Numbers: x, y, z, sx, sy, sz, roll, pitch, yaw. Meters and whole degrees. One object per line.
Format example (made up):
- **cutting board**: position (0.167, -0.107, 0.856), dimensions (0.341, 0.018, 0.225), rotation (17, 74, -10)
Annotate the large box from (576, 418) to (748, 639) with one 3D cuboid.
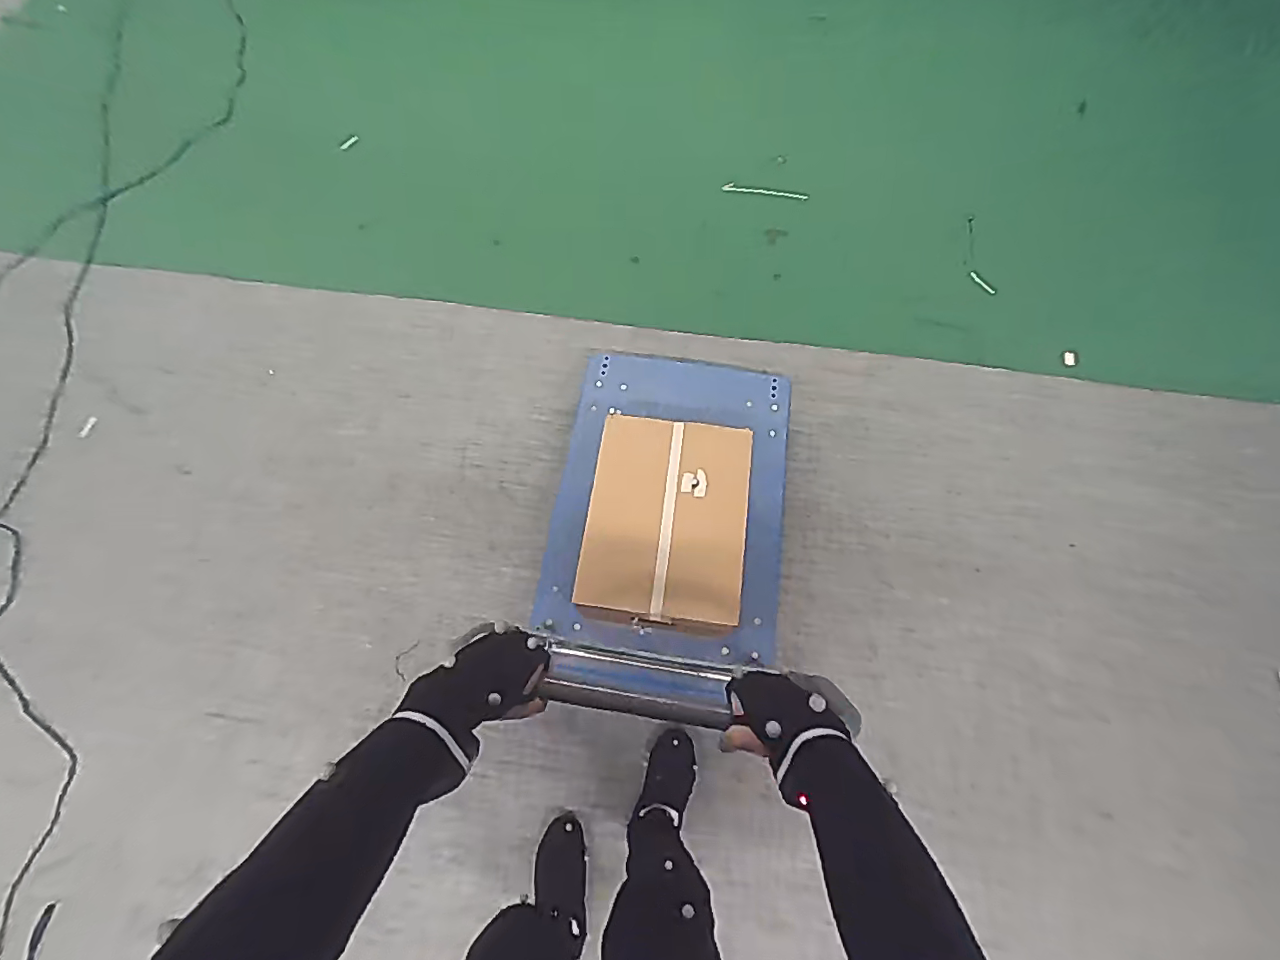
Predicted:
- **large box**: position (0.056, 0.121, 1.207), dimensions (0.320, 0.320, 0.408), rotation (7, 68, 3)
